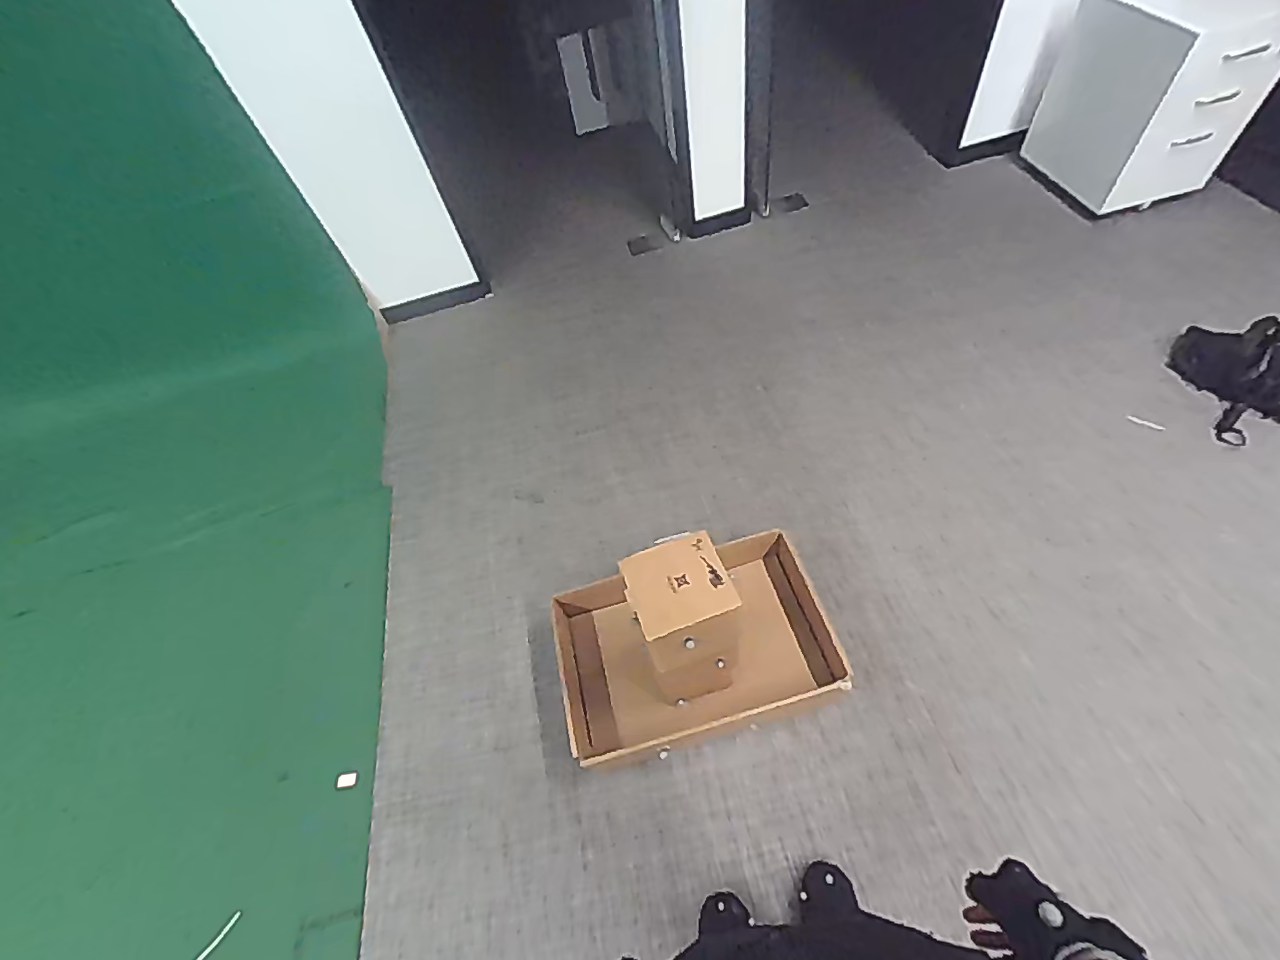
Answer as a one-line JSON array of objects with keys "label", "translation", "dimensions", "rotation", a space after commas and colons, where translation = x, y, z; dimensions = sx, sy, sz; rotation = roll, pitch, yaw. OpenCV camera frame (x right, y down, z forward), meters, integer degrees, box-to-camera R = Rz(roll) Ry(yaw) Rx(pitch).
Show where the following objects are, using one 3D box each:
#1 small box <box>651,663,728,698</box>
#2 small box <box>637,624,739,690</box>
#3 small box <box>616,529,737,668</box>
[{"label": "small box", "translation": [0.108, 0.404, 1.287], "dimensions": [0.168, 0.176, 0.179], "rotation": [-16, 54, -2]}, {"label": "small box", "translation": [0.093, 0.314, 1.134], "dimensions": [0.179, 0.176, 0.168], "rotation": [-21, 54, -6]}, {"label": "small box", "translation": [0.074, 0.228, 1.018], "dimensions": [0.179, 0.176, 0.168], "rotation": [-22, 52, -7]}]
